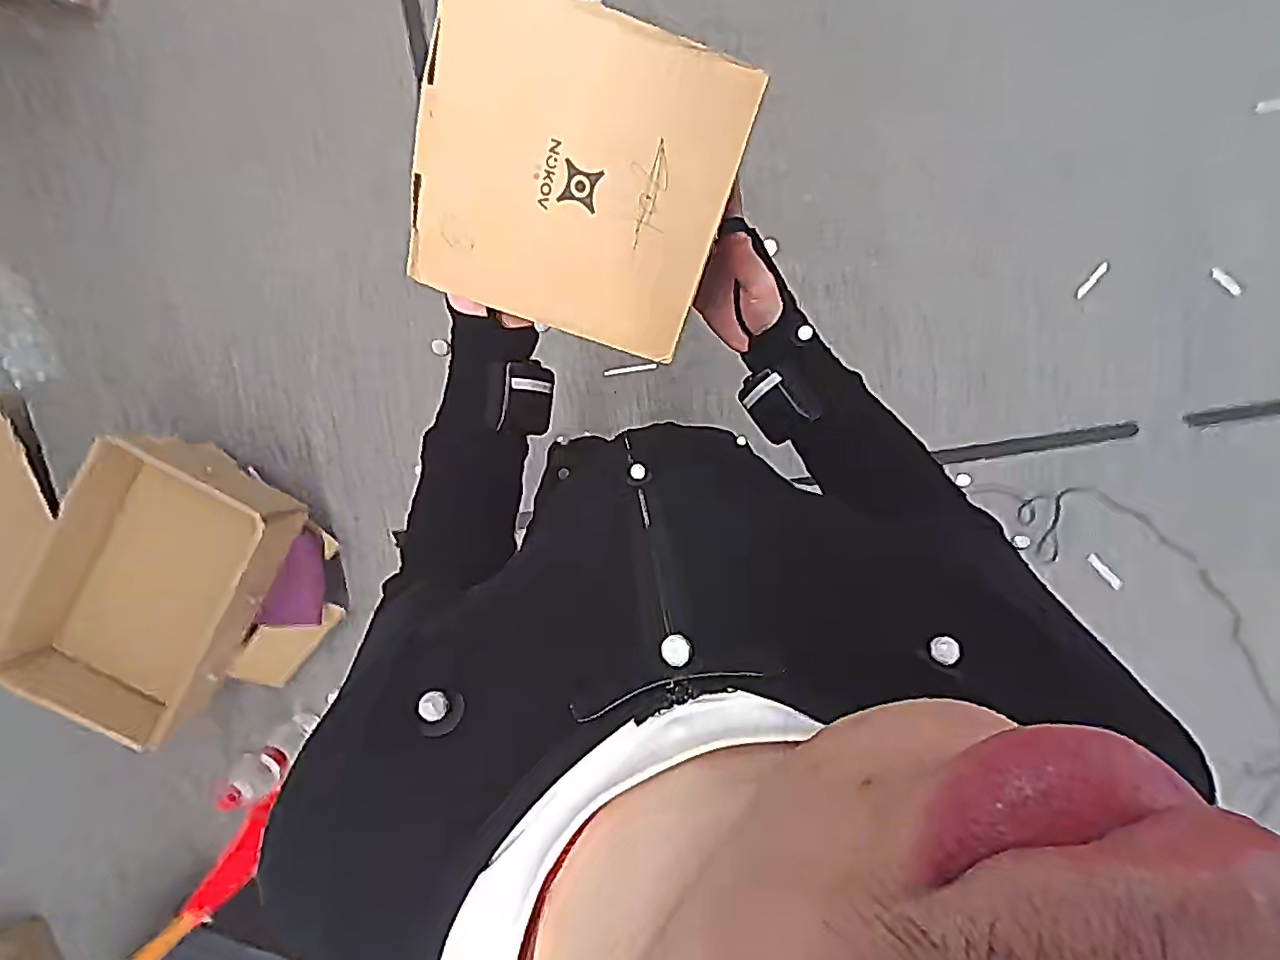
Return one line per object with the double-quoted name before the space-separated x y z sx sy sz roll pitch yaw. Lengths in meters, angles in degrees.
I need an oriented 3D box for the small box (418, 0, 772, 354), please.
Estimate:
"small box" -0.032 -0.213 0.391 0.179 0.176 0.168 17 117 -7
